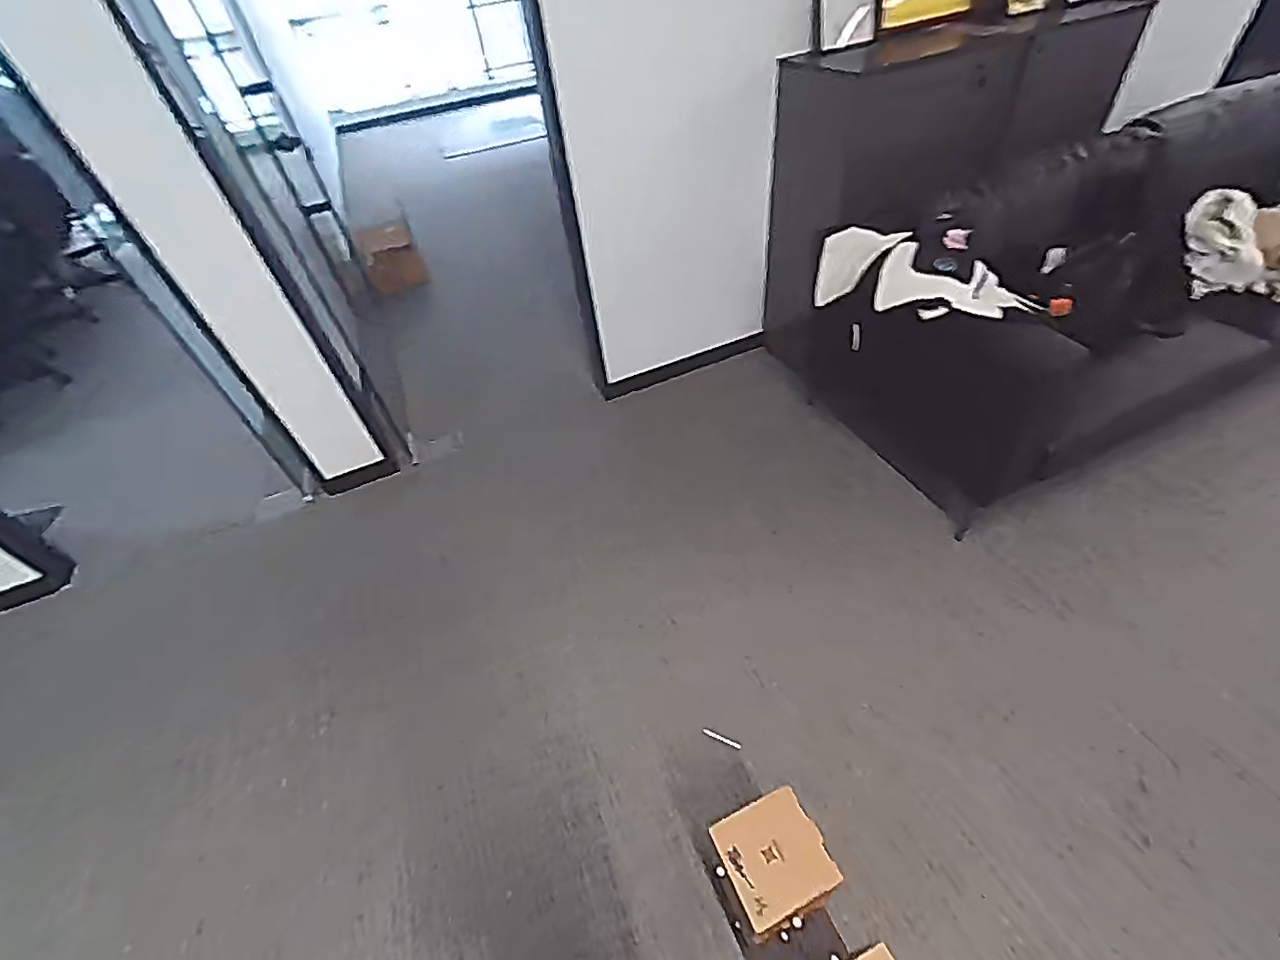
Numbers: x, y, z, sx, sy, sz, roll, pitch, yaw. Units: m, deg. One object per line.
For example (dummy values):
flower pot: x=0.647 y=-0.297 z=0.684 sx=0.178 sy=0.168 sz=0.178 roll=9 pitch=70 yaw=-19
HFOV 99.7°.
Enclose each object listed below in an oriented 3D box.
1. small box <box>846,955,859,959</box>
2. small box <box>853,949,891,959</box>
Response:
small box: x=0.349 y=0.983 z=0.947 sx=0.179 sy=0.176 sz=0.168 roll=-21 pitch=47 yaw=-13
small box: x=0.341 y=0.867 z=0.830 sx=0.179 sy=0.176 sz=0.168 roll=-20 pitch=46 yaw=-13
